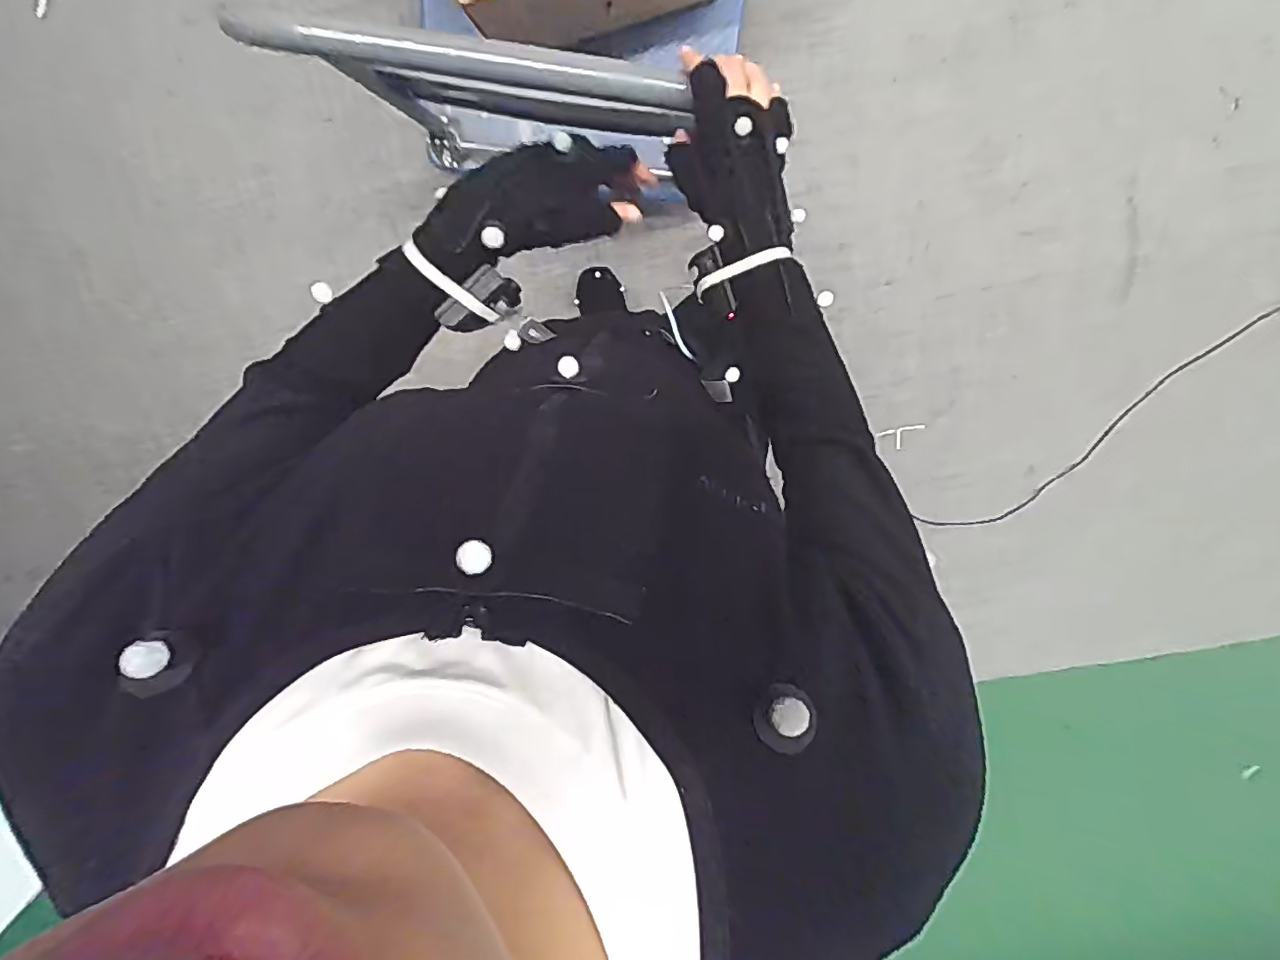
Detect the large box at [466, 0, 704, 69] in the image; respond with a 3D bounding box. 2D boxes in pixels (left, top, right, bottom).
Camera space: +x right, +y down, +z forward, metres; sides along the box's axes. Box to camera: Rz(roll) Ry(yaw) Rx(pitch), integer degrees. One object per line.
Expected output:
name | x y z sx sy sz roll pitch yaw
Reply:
large box | -0.082 -0.884 0.796 0.408 0.320 0.320 -14 114 8
